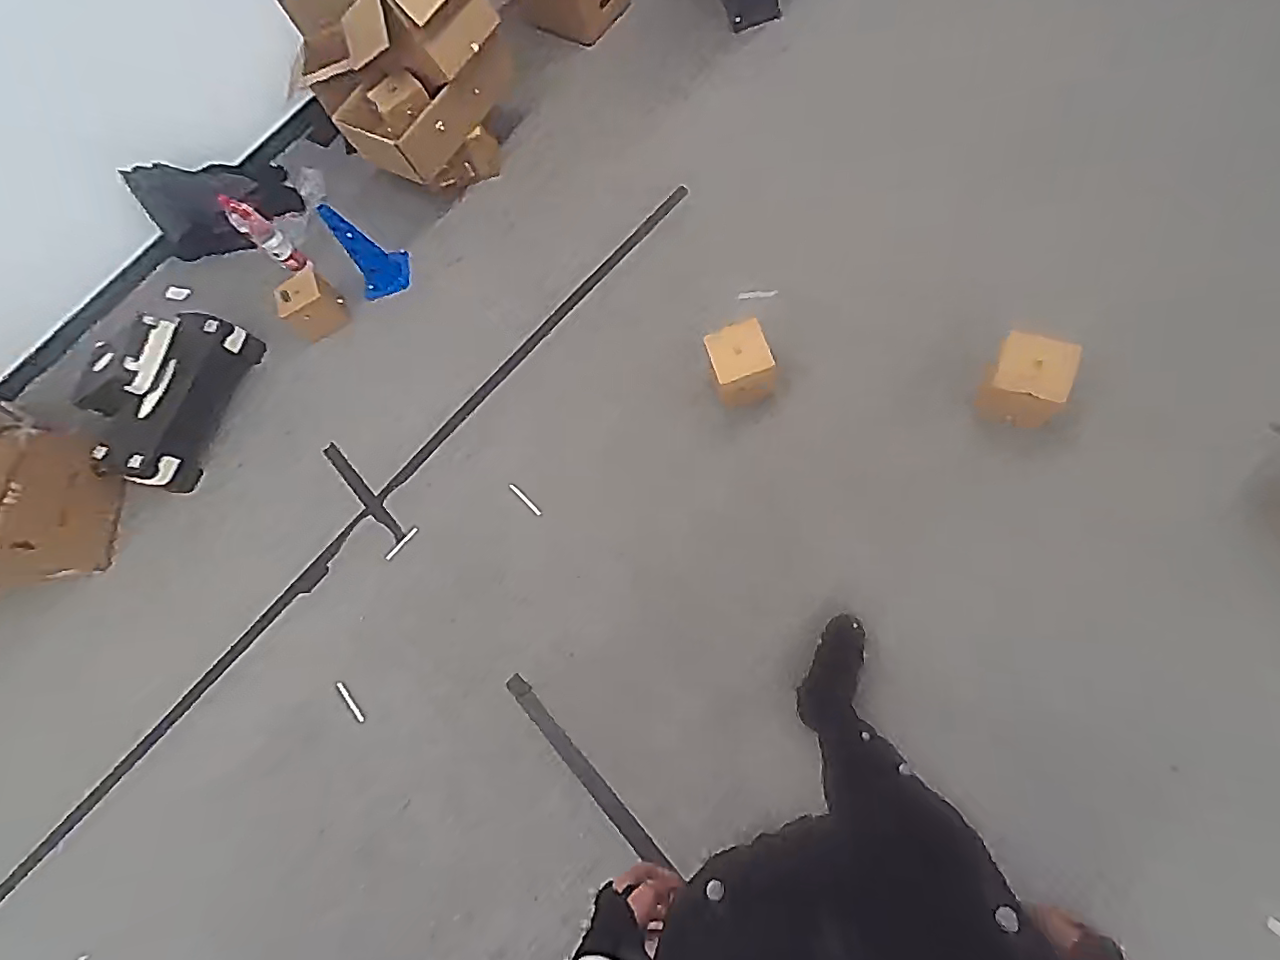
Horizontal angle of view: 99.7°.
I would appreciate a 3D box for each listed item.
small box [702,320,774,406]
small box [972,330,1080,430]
[{"bbox_3d":[0.299,-0.341,1.629,0.168,0.176,0.179,-19,68,7],"label":"small box"},{"bbox_3d":[1.010,-0.260,1.428,0.168,0.176,0.179,20,77,20],"label":"small box"}]
